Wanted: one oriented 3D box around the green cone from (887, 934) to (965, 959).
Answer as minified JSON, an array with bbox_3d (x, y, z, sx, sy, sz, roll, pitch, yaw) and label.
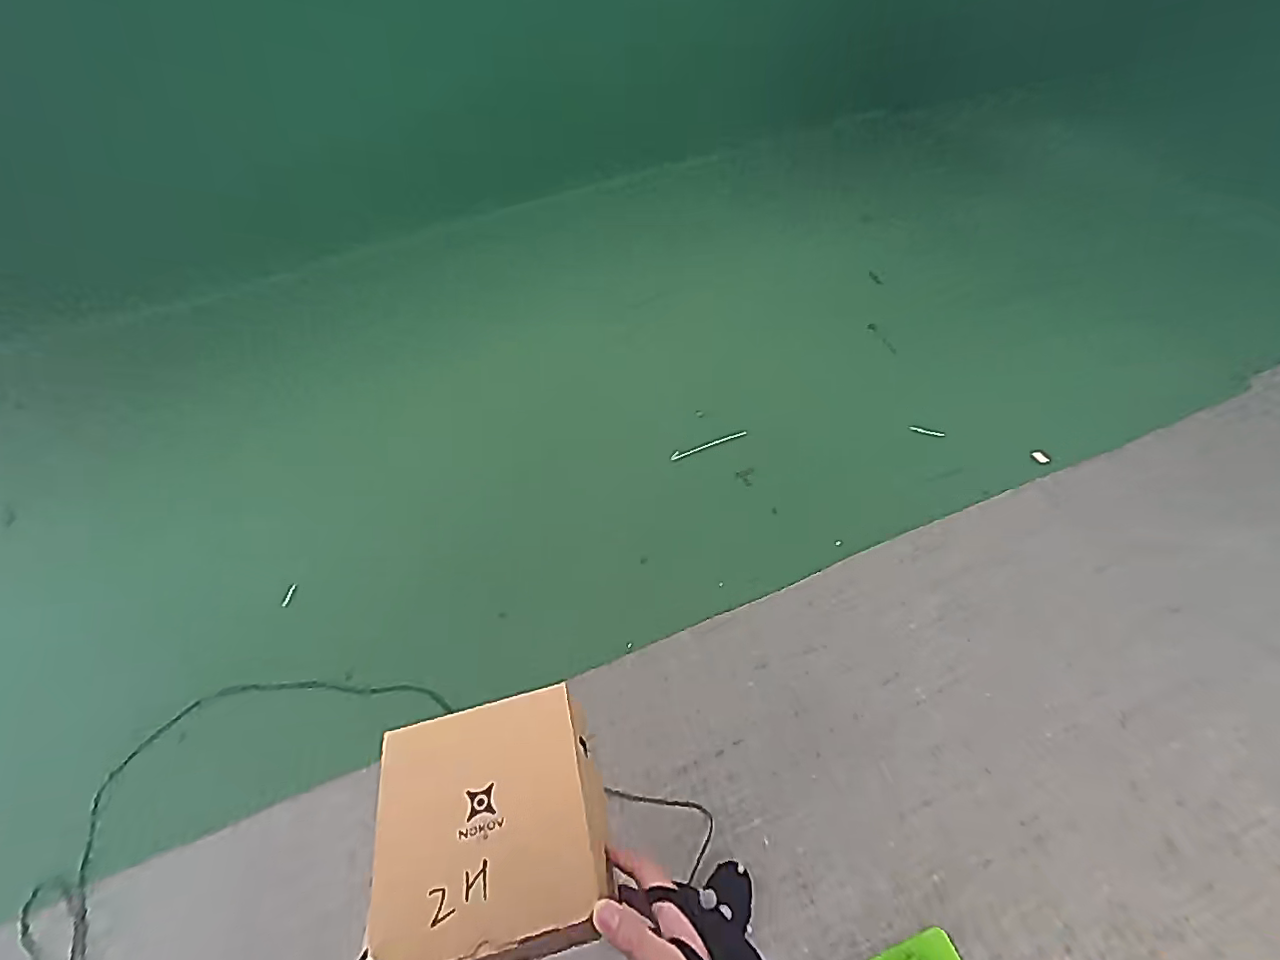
[{"bbox_3d":[0.573,0.951,0.944,0.202,0.368,0.200,-20,51,-7],"label":"green cone"}]
